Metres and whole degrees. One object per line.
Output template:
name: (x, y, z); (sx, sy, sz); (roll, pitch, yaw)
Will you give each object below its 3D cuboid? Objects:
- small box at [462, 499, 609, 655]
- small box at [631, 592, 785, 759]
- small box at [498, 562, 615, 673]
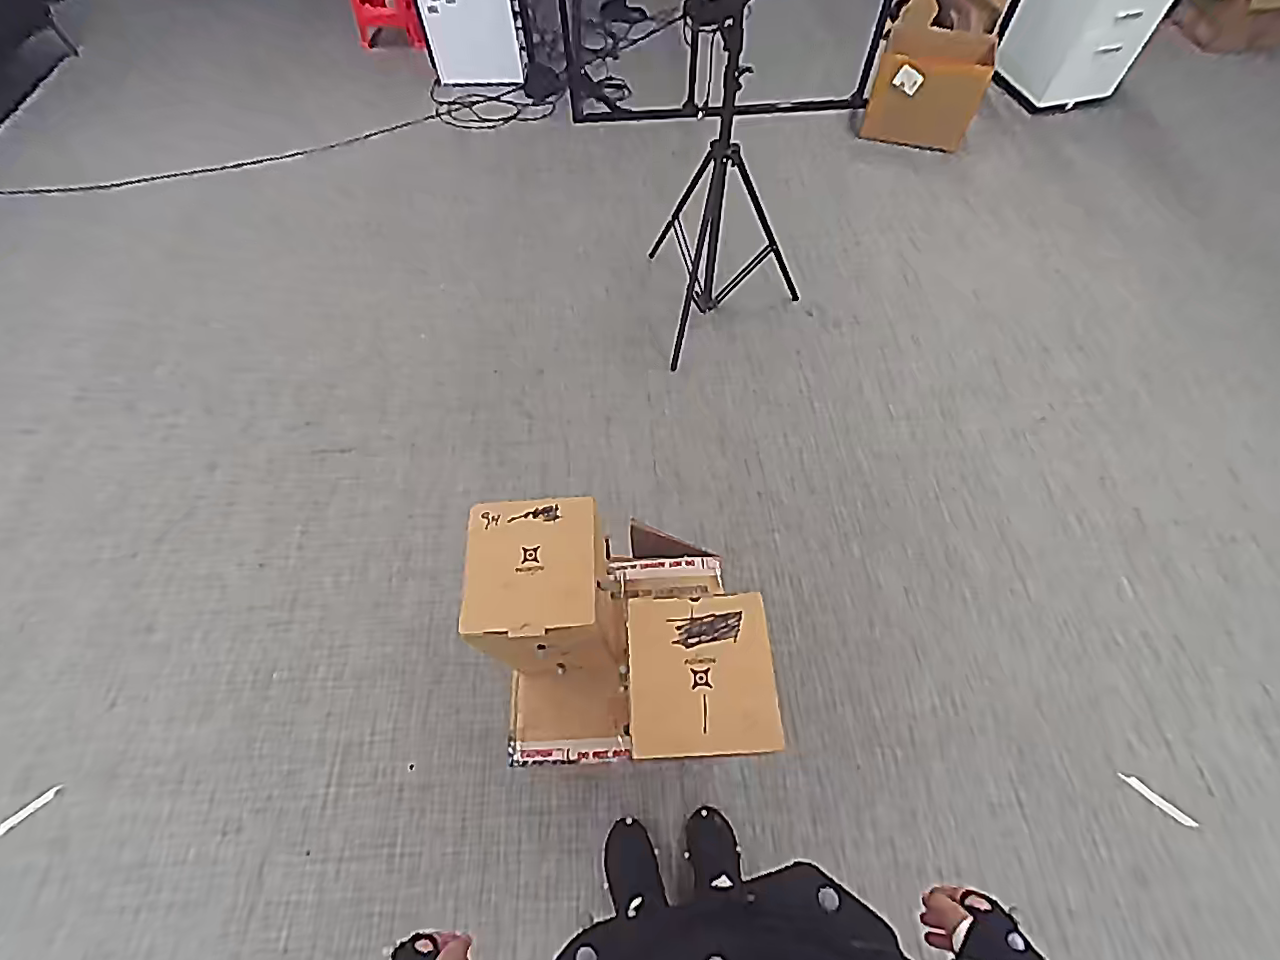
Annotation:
small box: (-0.134, 0.144, 0.754); (0.168, 0.176, 0.179); (-4, 63, 1)
small box: (0.074, 0.254, 0.691); (0.168, 0.176, 0.179); (-3, 63, 0)
small box: (-0.133, 0.213, 0.904); (0.168, 0.176, 0.179); (-6, 62, 0)
